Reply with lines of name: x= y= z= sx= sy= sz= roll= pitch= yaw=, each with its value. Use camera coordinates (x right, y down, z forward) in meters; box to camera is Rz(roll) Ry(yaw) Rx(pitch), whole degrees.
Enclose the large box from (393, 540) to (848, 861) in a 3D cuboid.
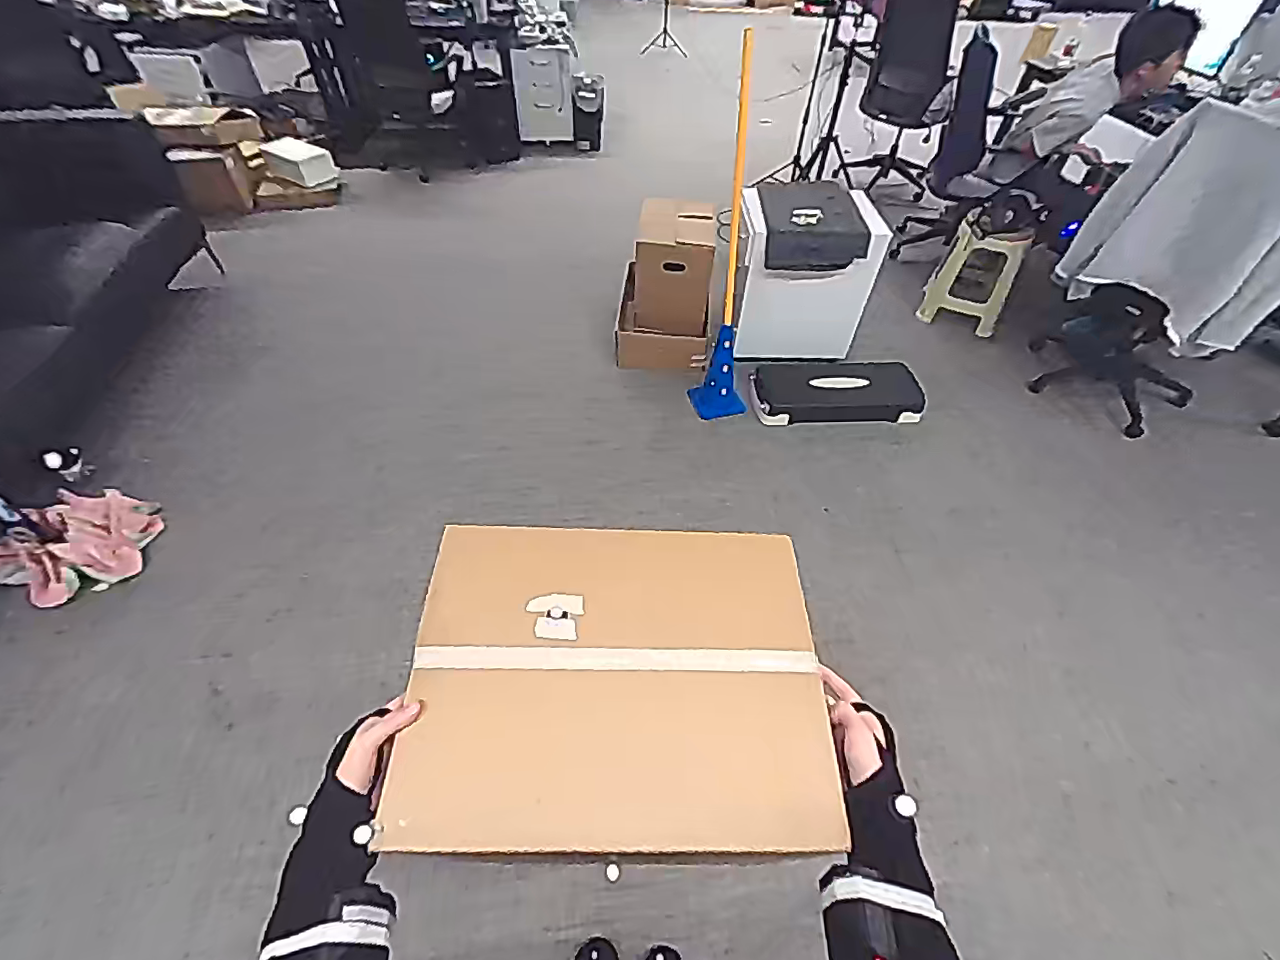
large box: x=-0.018 y=0.284 z=0.674 sx=0.408 sy=0.320 sz=0.320 roll=1 pitch=52 yaw=-1
